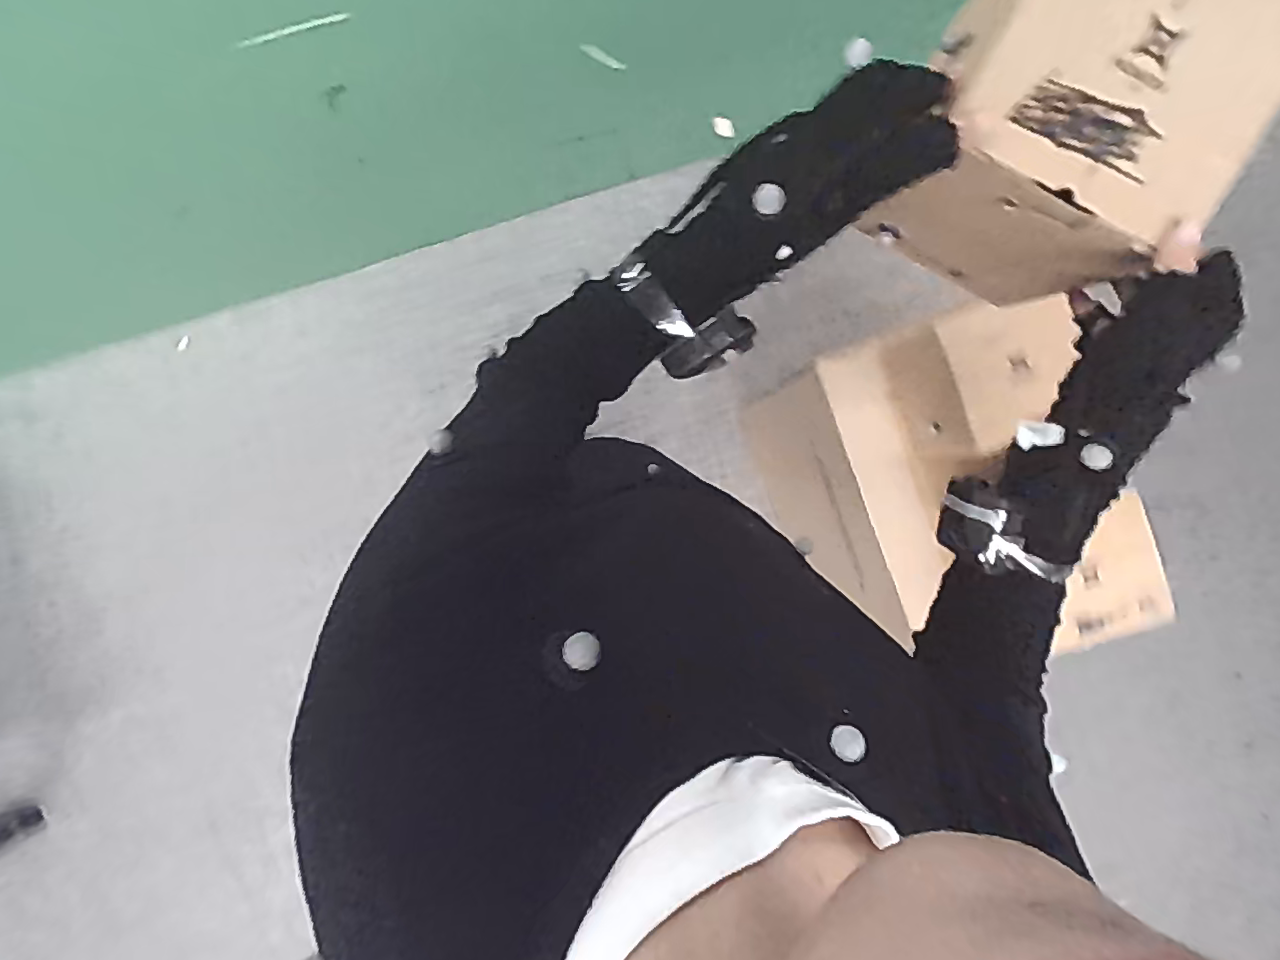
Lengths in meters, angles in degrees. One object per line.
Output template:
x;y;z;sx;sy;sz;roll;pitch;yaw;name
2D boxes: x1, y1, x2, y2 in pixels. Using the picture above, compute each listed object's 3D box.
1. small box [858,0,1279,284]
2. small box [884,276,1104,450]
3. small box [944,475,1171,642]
0.287;-0.267;0.392;0.168;0.176;0.179;26;98;-4;small box
0.474;-0.149;0.753;0.168;0.176;0.179;-20;90;2;small box
0.561;0.099;0.755;0.168;0.176;0.179;-18;91;4;small box
